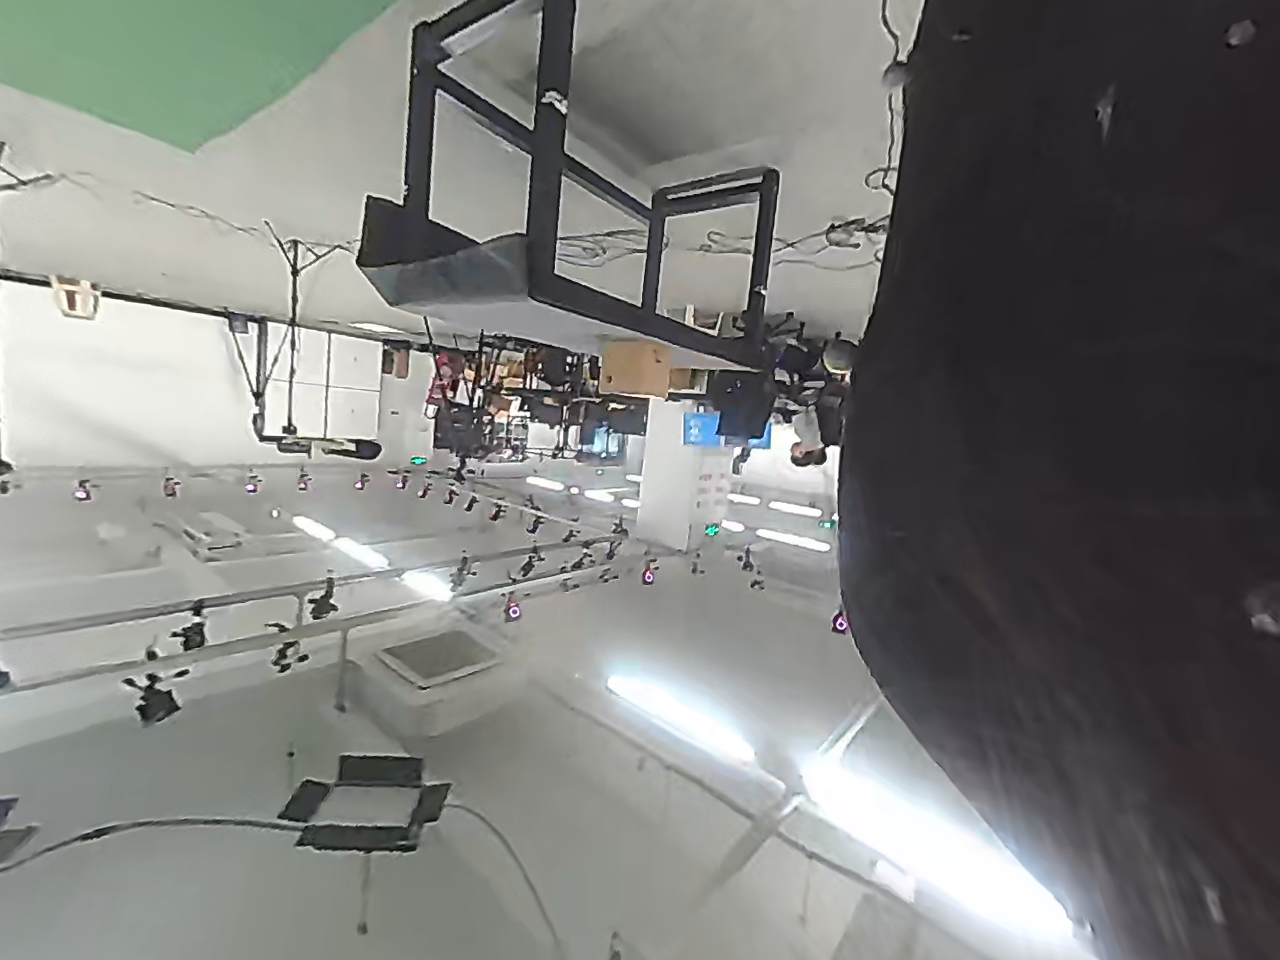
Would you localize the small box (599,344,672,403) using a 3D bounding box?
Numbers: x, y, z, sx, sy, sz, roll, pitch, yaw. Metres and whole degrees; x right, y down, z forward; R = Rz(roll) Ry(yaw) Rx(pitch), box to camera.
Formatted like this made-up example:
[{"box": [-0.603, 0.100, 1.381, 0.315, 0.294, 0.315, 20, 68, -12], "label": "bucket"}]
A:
[{"box": [-0.011, -0.358, 1.816, 0.179, 0.176, 0.168, 11, -172, 37], "label": "small box"}]
